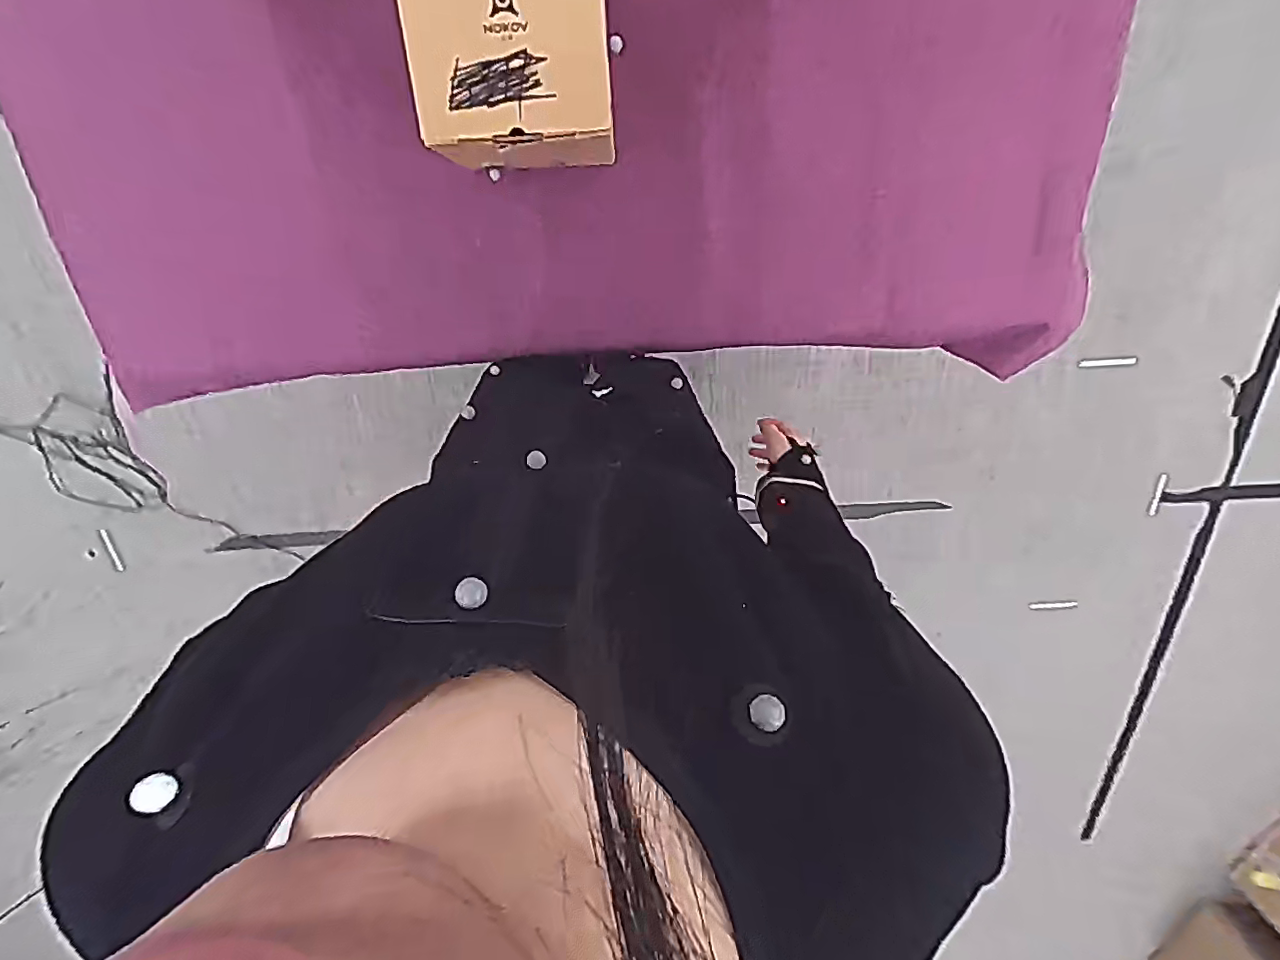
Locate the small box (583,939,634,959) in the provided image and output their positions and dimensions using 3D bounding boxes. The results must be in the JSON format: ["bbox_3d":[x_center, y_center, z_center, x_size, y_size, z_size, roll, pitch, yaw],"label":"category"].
[{"bbox_3d":[-0.105,1.722,1.862,0.179,0.176,0.168,-4,111,1],"label":"small box"}]

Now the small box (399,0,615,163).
[{"bbox_3d":[-0.111,-0.408,0.508,0.168,0.176,0.179,-3,112,-1],"label":"small box"}]
